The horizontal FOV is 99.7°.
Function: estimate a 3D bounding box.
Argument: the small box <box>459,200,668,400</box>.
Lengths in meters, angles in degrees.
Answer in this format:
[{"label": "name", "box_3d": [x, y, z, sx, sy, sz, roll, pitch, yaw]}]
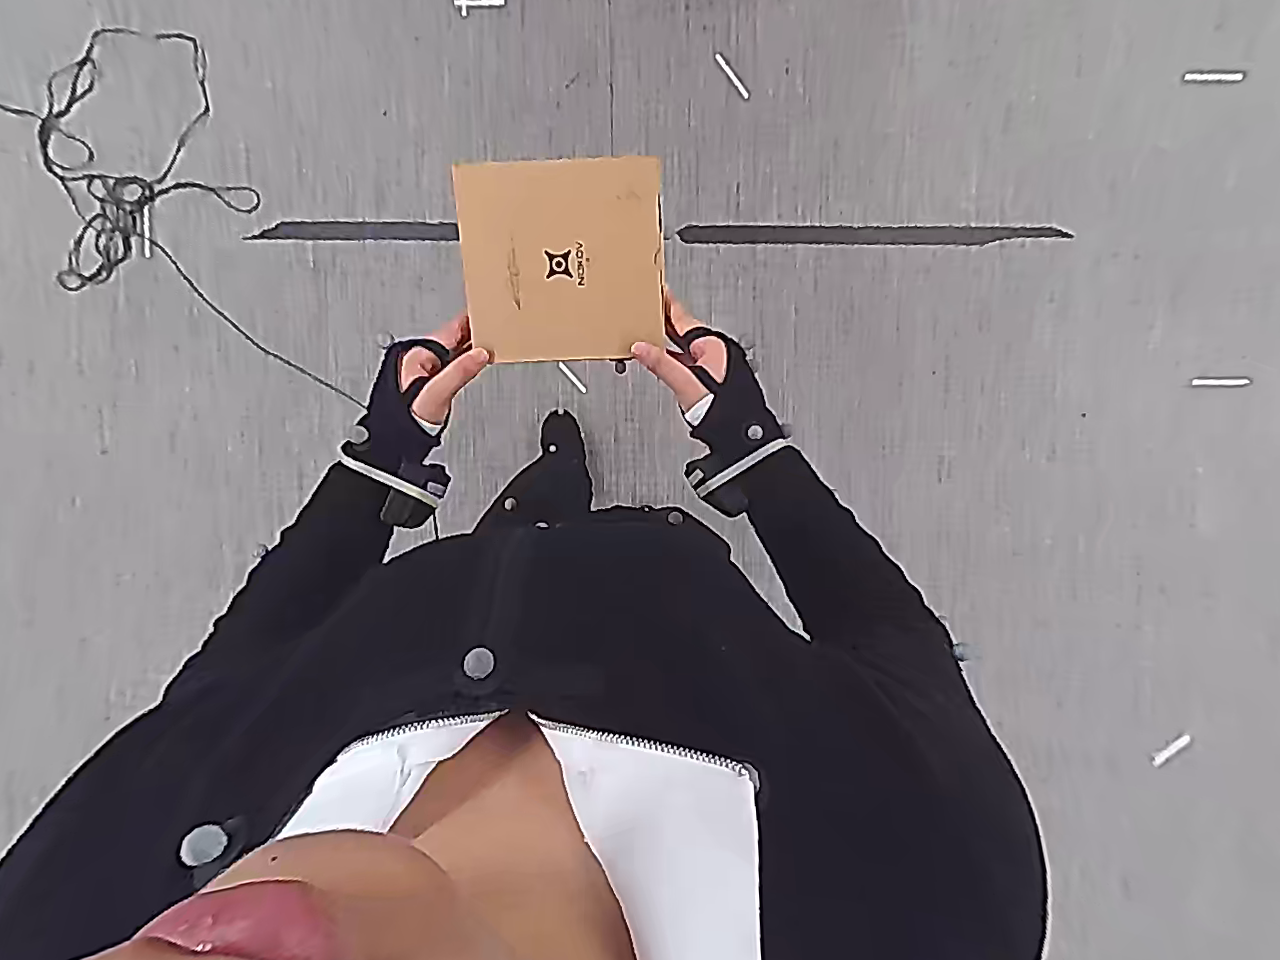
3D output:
[{"label": "small box", "box_3d": [-0.067, -0.175, 0.559, 0.179, 0.176, 0.168, -4, 102, 0]}]
